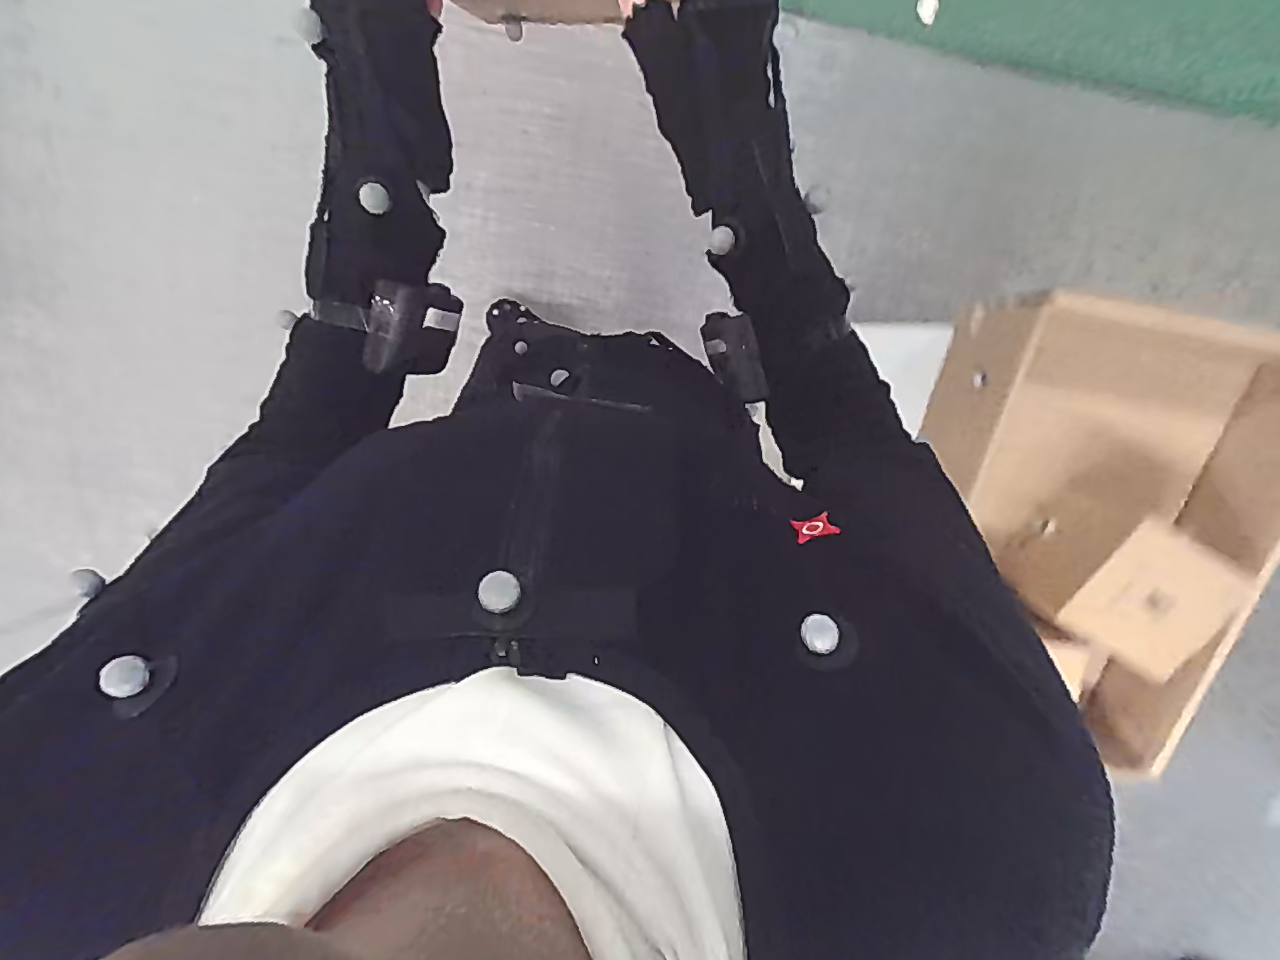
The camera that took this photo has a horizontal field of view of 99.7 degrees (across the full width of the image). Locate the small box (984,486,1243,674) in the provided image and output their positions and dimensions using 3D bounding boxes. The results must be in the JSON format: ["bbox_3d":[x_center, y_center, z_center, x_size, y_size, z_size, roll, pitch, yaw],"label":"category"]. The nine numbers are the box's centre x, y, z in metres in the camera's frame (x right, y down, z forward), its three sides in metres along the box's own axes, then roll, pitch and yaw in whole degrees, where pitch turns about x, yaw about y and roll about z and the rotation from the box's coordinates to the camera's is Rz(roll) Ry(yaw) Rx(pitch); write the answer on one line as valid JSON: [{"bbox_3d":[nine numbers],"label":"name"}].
[{"bbox_3d":[0.650,0.129,0.769,0.179,0.176,0.168,32,104,-3],"label":"small box"}]
